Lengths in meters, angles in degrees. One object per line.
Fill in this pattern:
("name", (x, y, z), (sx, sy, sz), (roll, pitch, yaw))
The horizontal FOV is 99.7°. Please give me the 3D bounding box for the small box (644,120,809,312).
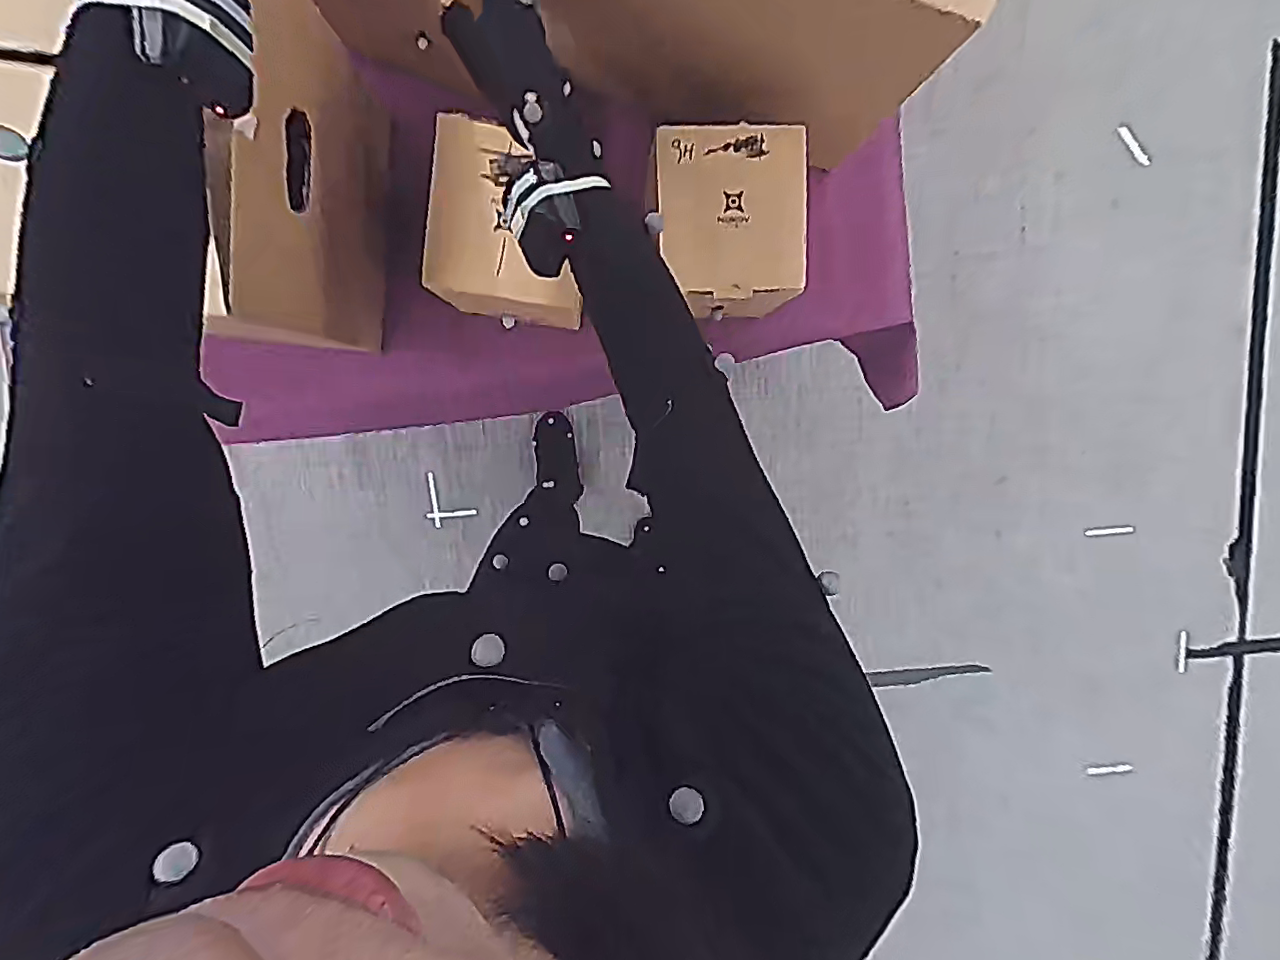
("small box", (0.095, -0.305, 0.661), (0.168, 0.176, 0.179), (-3, 98, -5))
